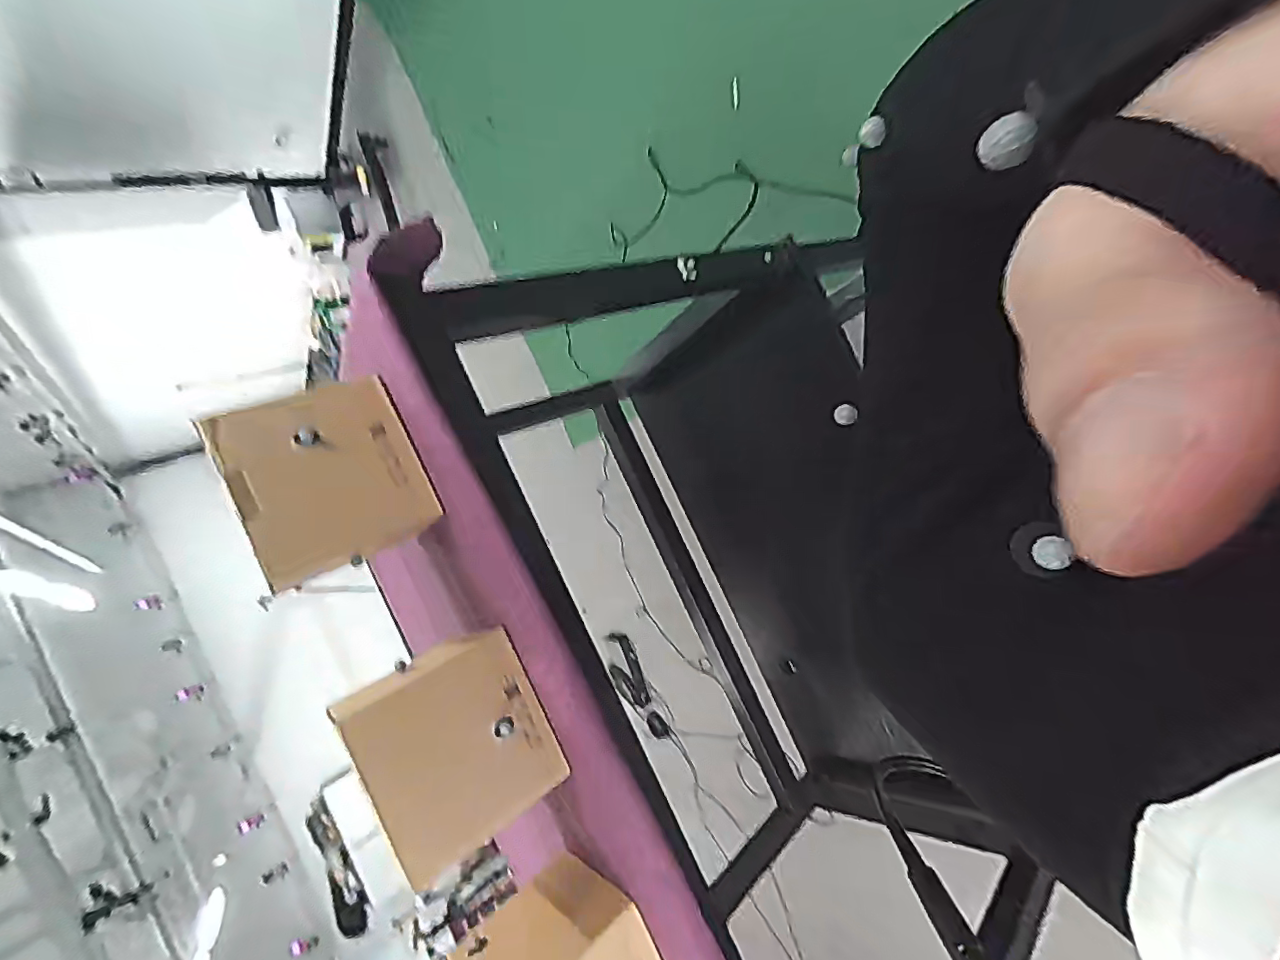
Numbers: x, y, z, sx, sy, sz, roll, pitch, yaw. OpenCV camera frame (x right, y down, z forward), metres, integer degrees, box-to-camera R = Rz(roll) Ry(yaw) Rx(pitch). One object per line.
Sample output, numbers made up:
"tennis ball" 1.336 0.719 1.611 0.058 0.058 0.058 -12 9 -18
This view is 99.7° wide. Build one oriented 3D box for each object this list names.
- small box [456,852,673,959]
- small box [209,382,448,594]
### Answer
"small box" -0.063 0.541 0.568 0.179 0.176 0.168 -27 88 56
"small box" -0.336 0.010 0.603 0.179 0.176 0.168 -26 89 56
